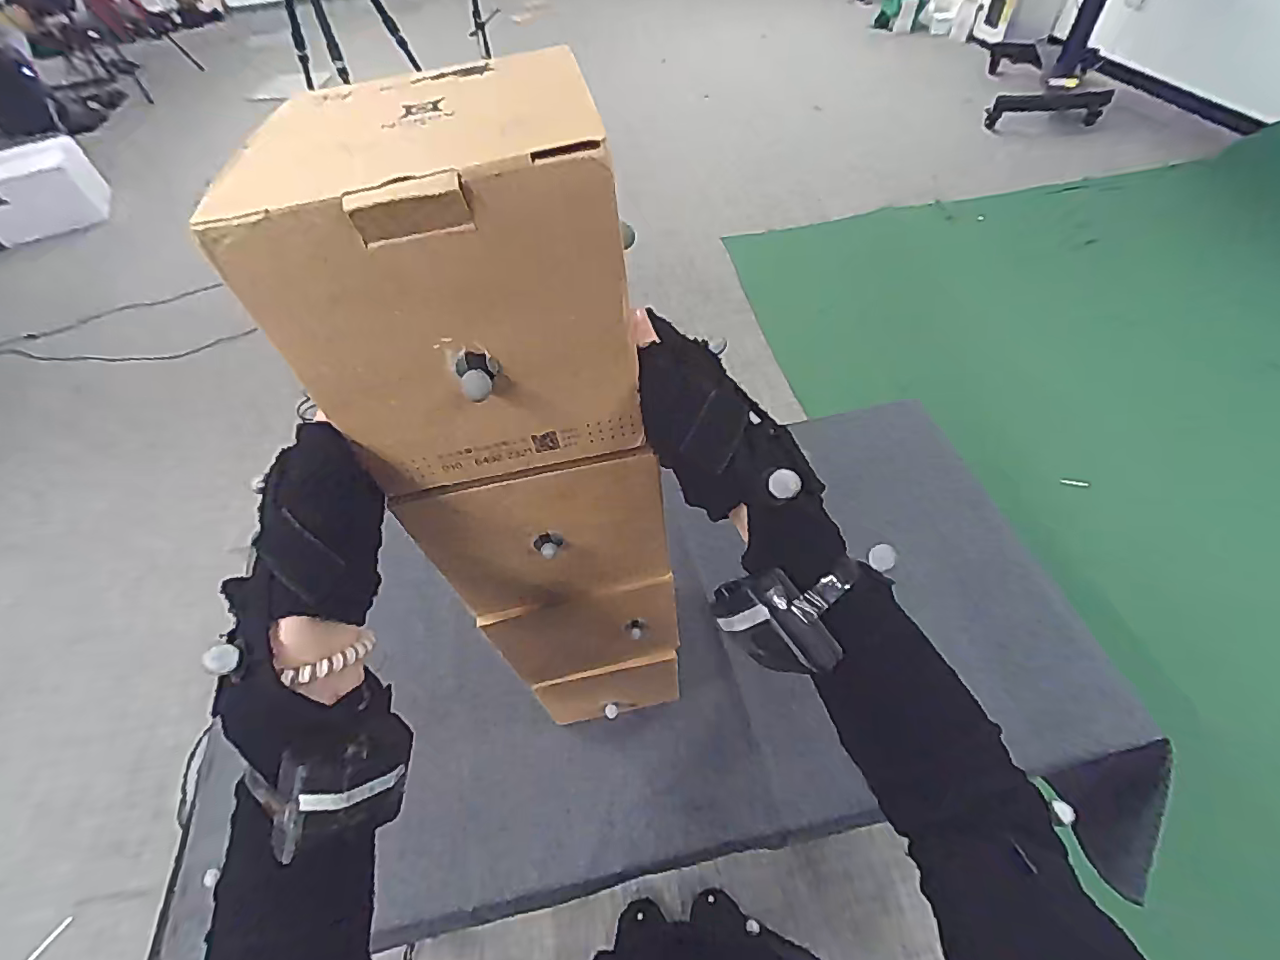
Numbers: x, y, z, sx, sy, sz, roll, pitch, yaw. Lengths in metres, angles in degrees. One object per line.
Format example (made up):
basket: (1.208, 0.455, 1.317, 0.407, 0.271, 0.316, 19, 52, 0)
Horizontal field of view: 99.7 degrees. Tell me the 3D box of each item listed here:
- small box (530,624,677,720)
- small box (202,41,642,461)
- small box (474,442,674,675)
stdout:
small box: (-0.049, 0.189, 0.707, 0.168, 0.176, 0.179, -11, 53, -3)
small box: (-0.097, -0.128, 0.326, 0.168, 0.176, 0.179, -11, 50, -2)
small box: (-0.066, 0.088, 0.581, 0.179, 0.176, 0.168, -13, 51, -4)
